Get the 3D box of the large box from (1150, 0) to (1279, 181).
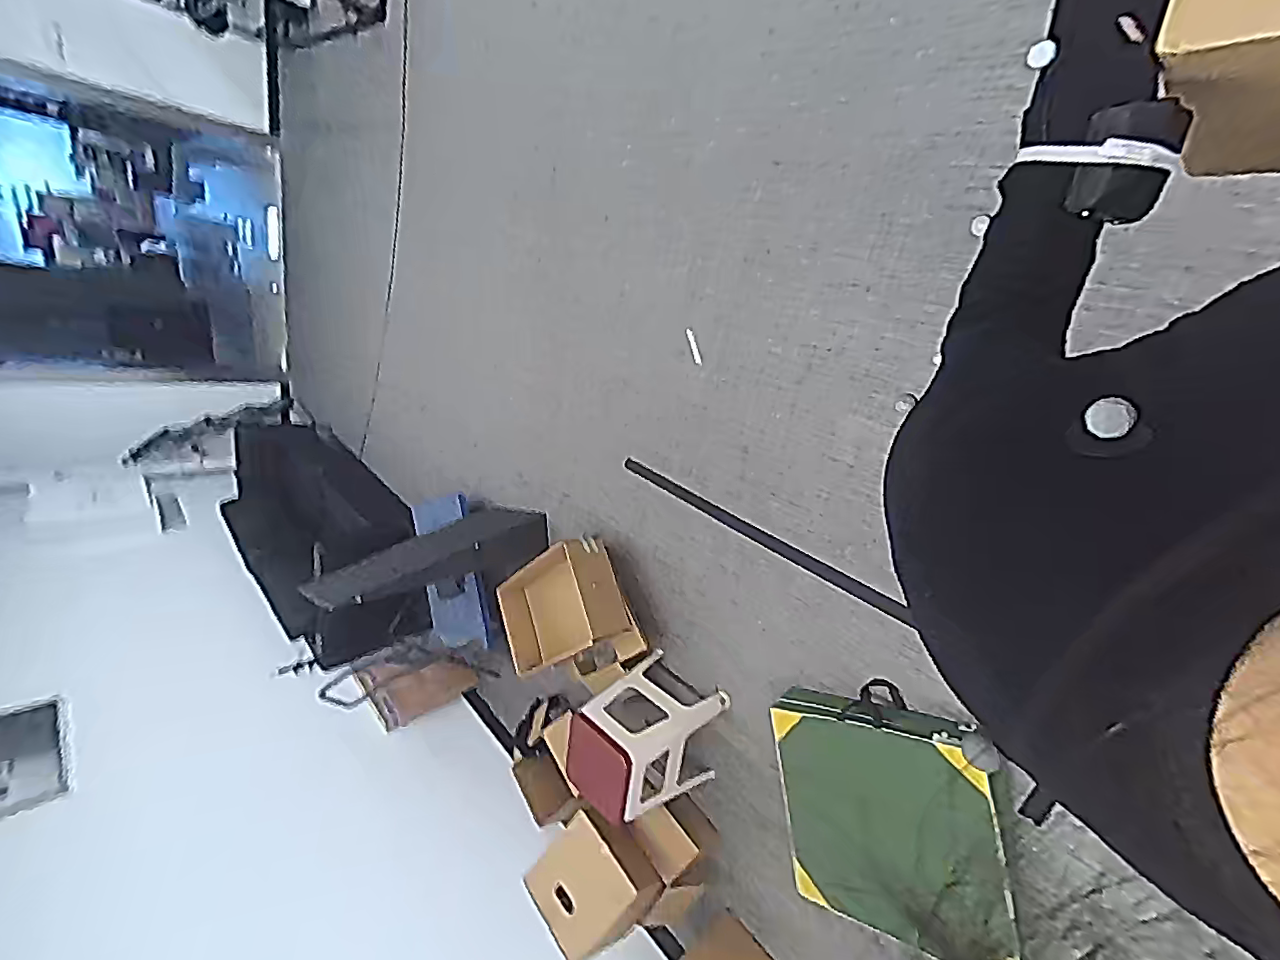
[{"bbox_3d":[0.574,-0.372,0.265,0.408,0.320,0.320,22,114,43],"label":"large box"}]
